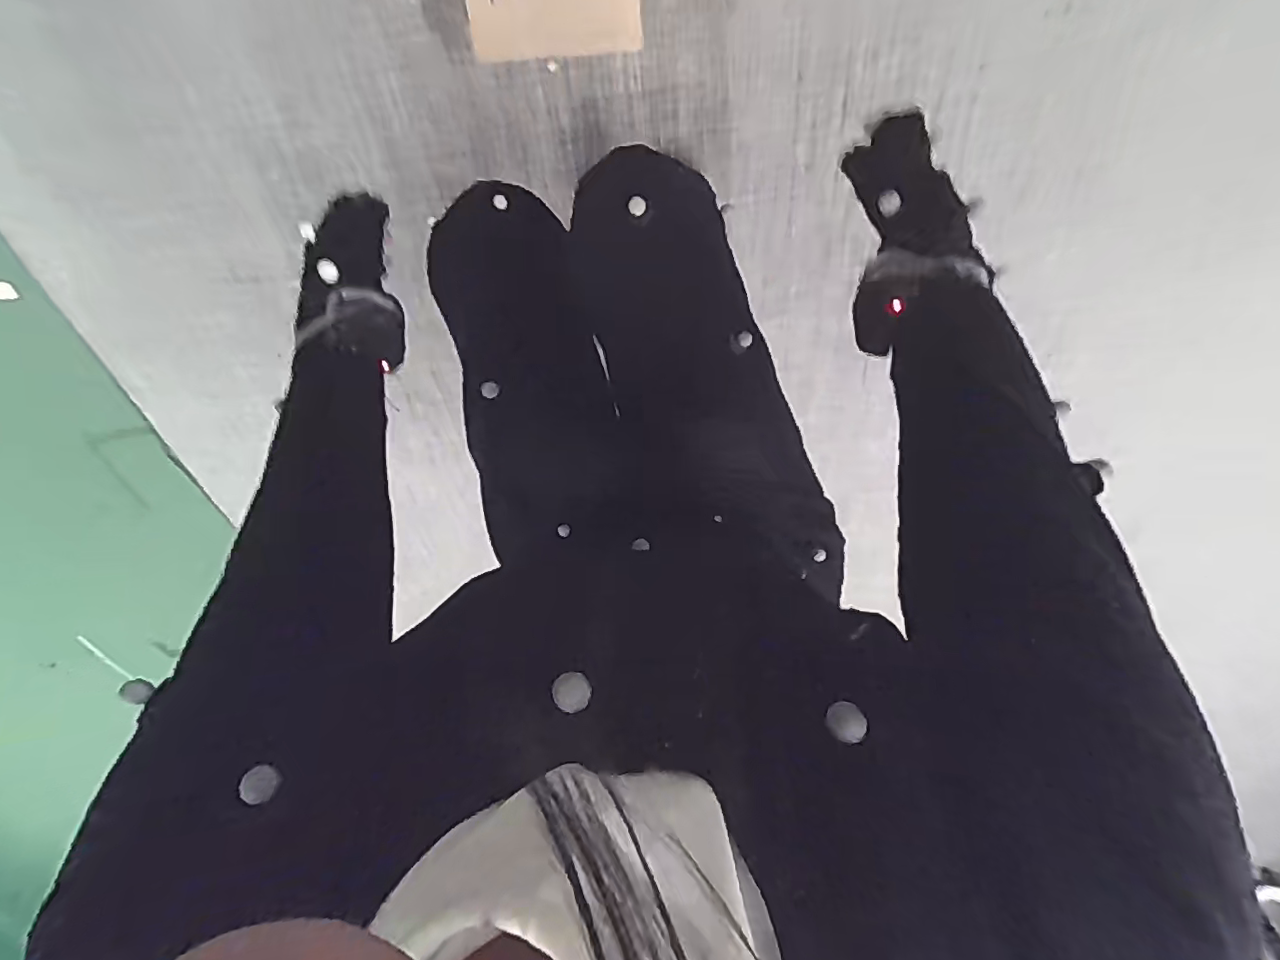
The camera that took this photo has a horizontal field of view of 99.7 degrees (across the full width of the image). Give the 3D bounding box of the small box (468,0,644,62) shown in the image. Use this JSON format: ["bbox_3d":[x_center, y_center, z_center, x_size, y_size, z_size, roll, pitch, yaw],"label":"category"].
[{"bbox_3d":[-0.086,-0.555,0.577,0.179,0.176,0.168,-3,130,2],"label":"small box"}]
